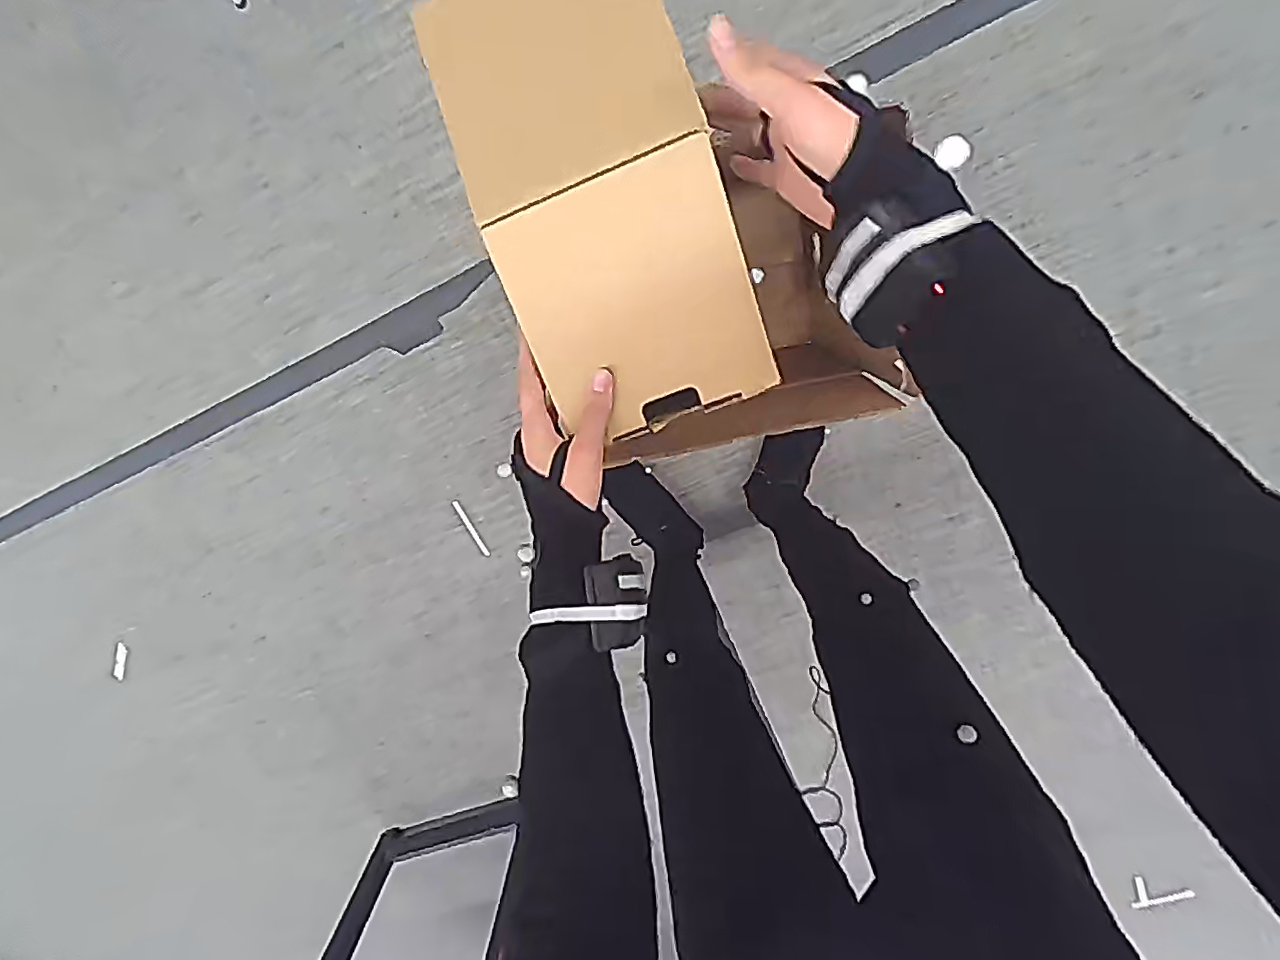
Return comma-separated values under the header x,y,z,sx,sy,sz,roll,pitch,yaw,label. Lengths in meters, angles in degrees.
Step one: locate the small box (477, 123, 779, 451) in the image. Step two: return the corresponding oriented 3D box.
x,y,z,sx,sy,sz,roll,pitch,yaw,label
0.000,-0.148,0.445,0.168,0.176,0.179,-19,108,9,small box
